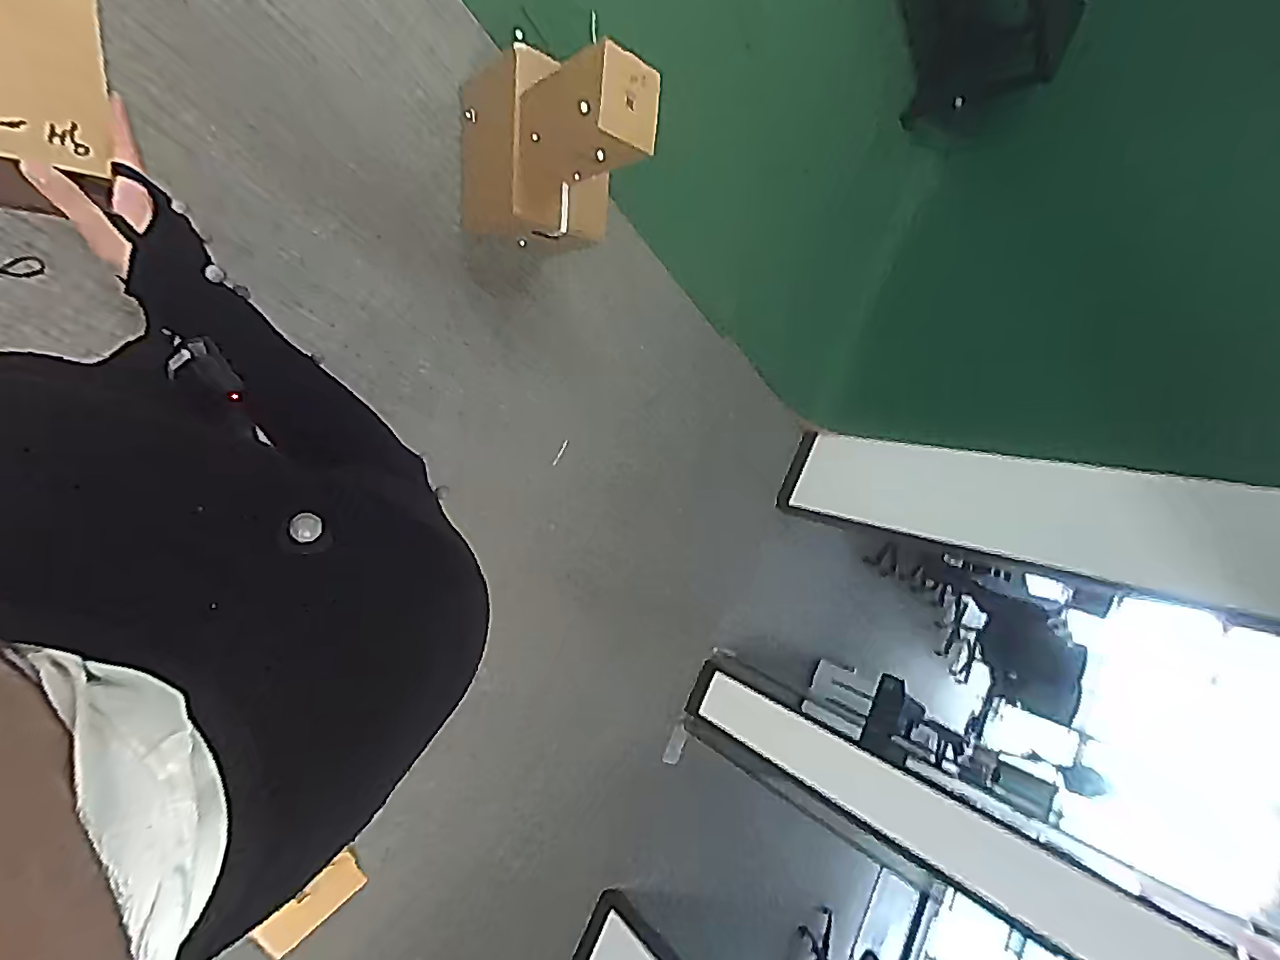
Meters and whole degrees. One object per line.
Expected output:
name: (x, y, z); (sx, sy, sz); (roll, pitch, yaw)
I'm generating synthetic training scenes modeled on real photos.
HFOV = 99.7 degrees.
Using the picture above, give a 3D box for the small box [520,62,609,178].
small box: (-0.186, -0.880, 1.346); (0.168, 0.176, 0.179); (-5, 104, -43)

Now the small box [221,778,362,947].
small box: (-0.698, 0.749, 1.078); (0.179, 0.176, 0.168); (-33, 121, -34)

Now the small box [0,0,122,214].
small box: (-0.562, -0.351, 0.456); (0.168, 0.176, 0.179); (-7, 102, -43)

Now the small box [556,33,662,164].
small box: (-0.075, -0.848, 1.228); (0.168, 0.176, 0.179); (-3, 103, -44)
